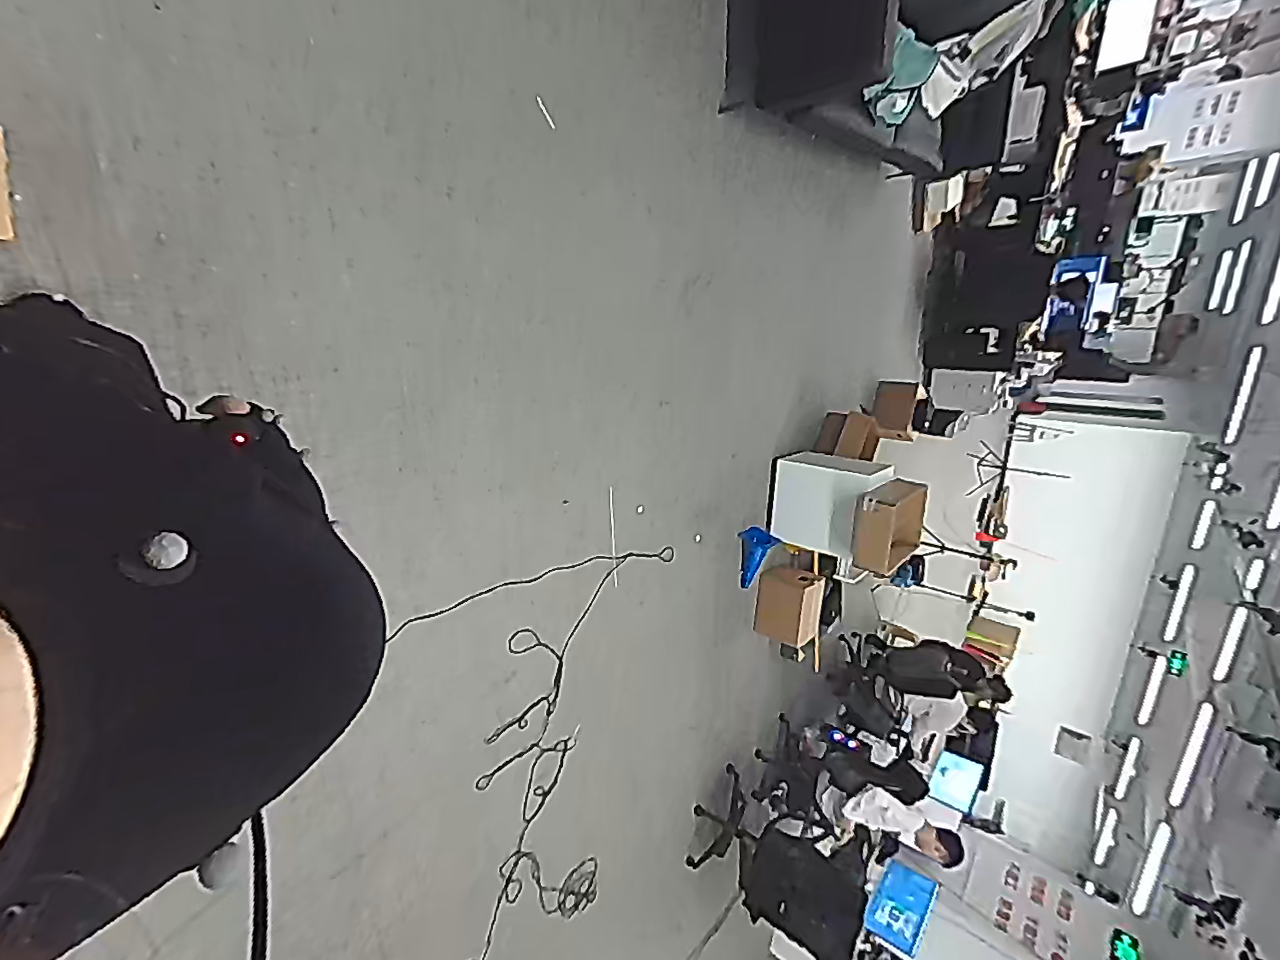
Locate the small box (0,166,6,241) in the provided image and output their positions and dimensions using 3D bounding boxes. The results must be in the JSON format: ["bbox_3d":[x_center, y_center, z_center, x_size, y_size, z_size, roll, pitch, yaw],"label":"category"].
[{"bbox_3d":[-1.109,-0.483,0.829,0.168,0.176,0.179,-6,106,-49],"label":"small box"}]
